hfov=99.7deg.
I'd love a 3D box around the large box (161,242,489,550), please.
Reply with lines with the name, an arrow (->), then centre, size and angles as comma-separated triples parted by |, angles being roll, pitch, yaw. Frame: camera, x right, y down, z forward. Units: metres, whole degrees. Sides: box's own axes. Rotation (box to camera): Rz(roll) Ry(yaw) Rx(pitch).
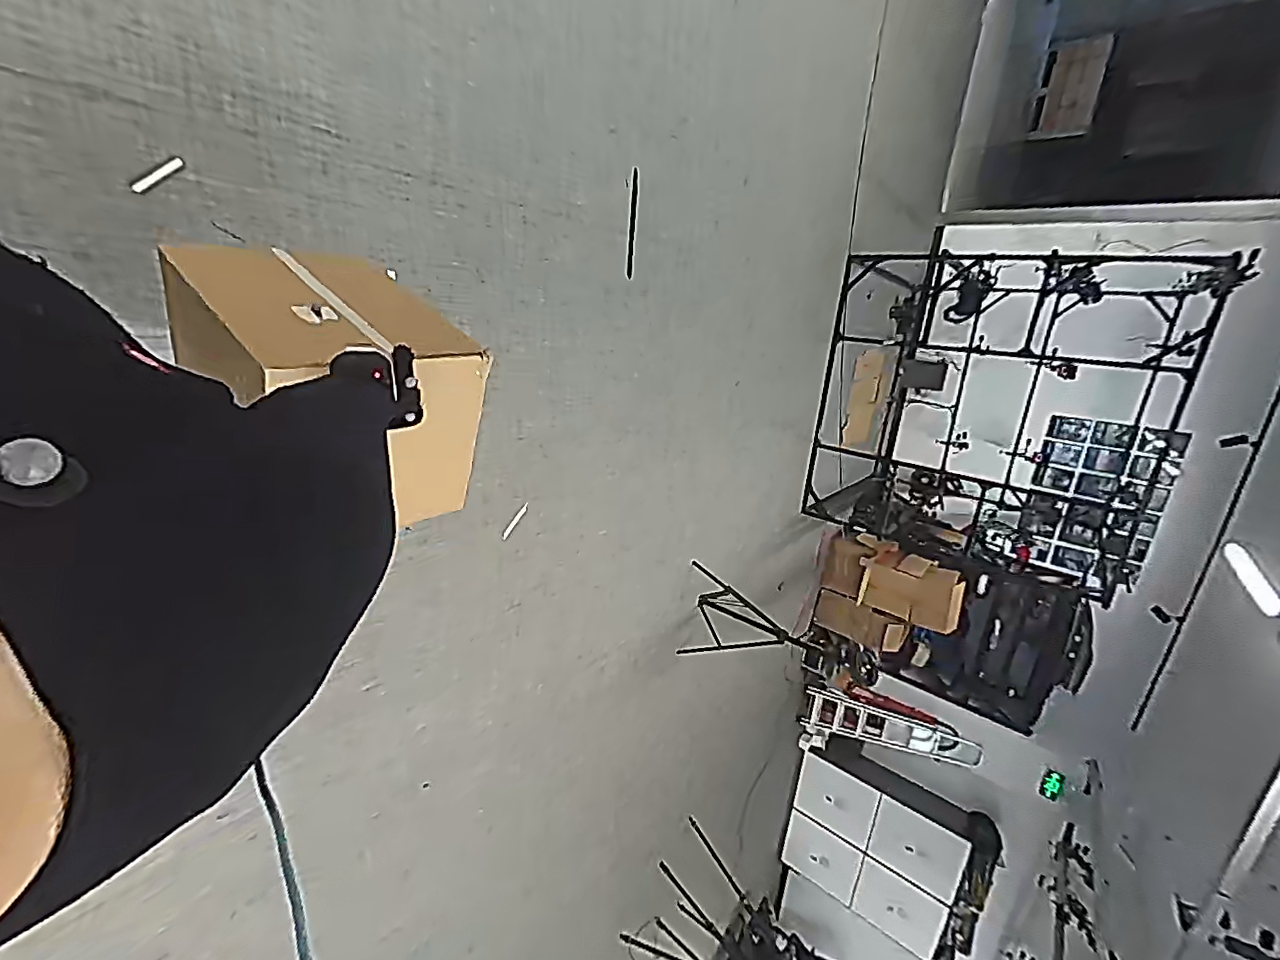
large box -> -0.524, -0.155, 0.906 | 0.320, 0.408, 0.320 | -21, 142, -47
